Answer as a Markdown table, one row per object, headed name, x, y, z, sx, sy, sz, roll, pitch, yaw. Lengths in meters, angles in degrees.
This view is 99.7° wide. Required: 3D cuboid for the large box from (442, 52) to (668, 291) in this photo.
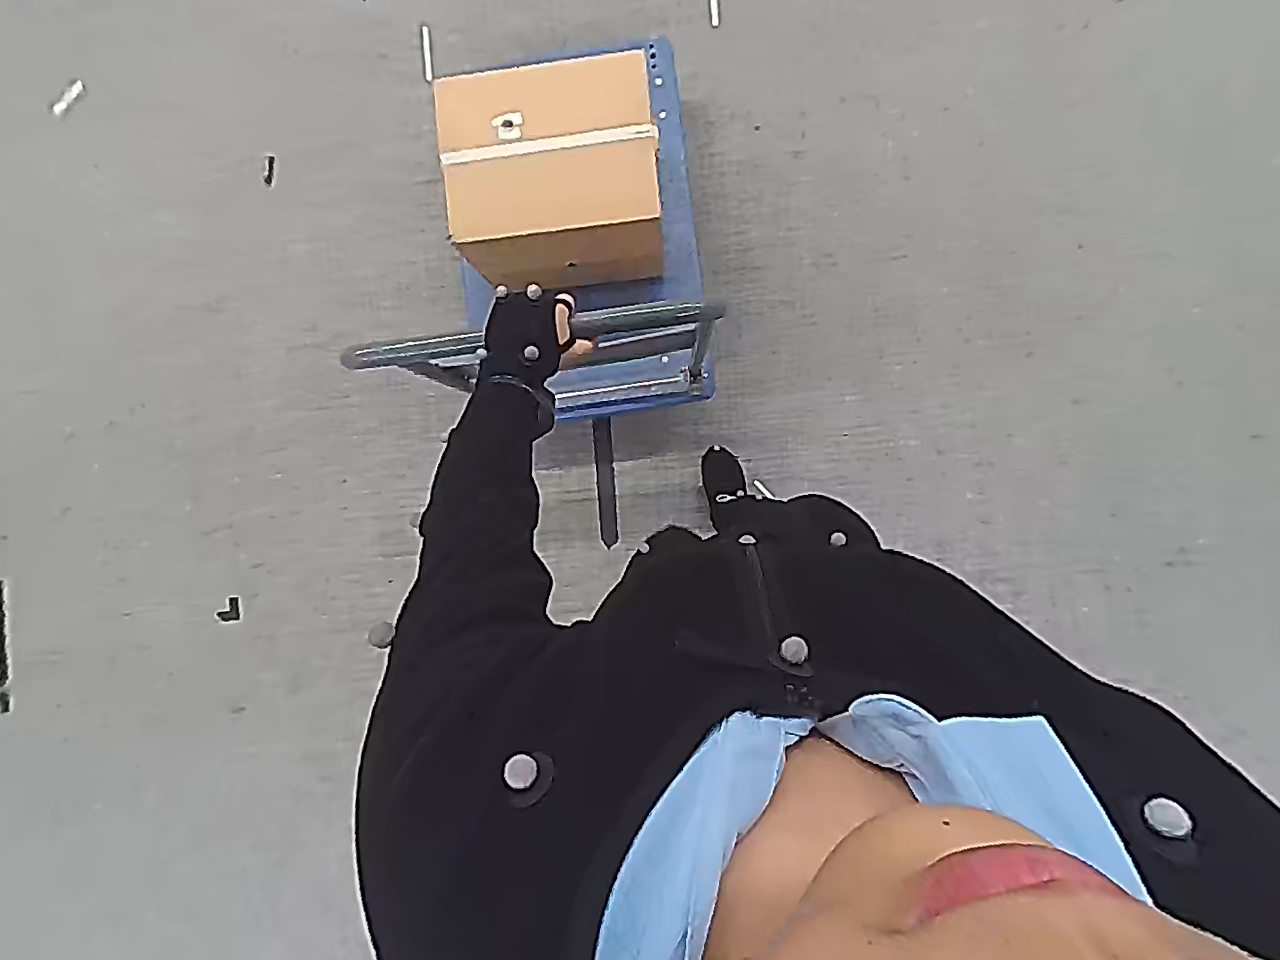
| name | x | y | z | sx | sy | sz | roll | pitch | yaw |
| --- | --- | --- | --- | --- | --- | --- | --- | --- | --- |
| large box | -0.157 | -0.631 | 1.173 | 0.408 | 0.320 | 0.320 | -5 | 90 | 5 |
